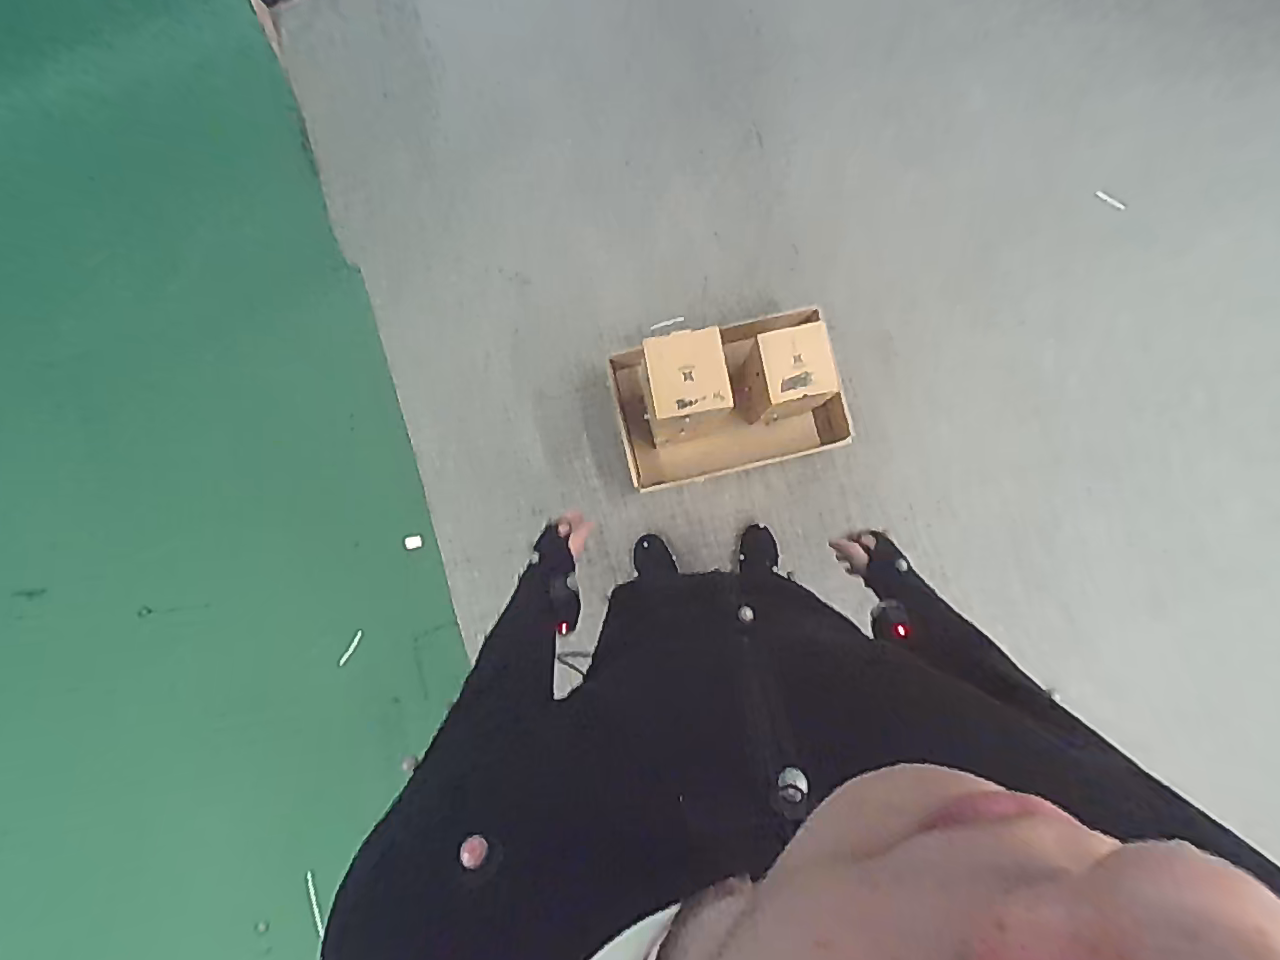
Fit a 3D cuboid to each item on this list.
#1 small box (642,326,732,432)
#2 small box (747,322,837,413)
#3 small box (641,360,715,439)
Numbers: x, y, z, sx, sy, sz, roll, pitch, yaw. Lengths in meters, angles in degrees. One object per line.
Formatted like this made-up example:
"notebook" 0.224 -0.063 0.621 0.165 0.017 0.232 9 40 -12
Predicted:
"small box" 0.096 -0.215 1.194 0.168 0.176 0.179 -10 85 0
"small box" 0.374 -0.271 1.354 0.168 0.176 0.179 -11 85 2
"small box" 0.097 -0.214 1.359 0.168 0.176 0.179 -13 86 0
